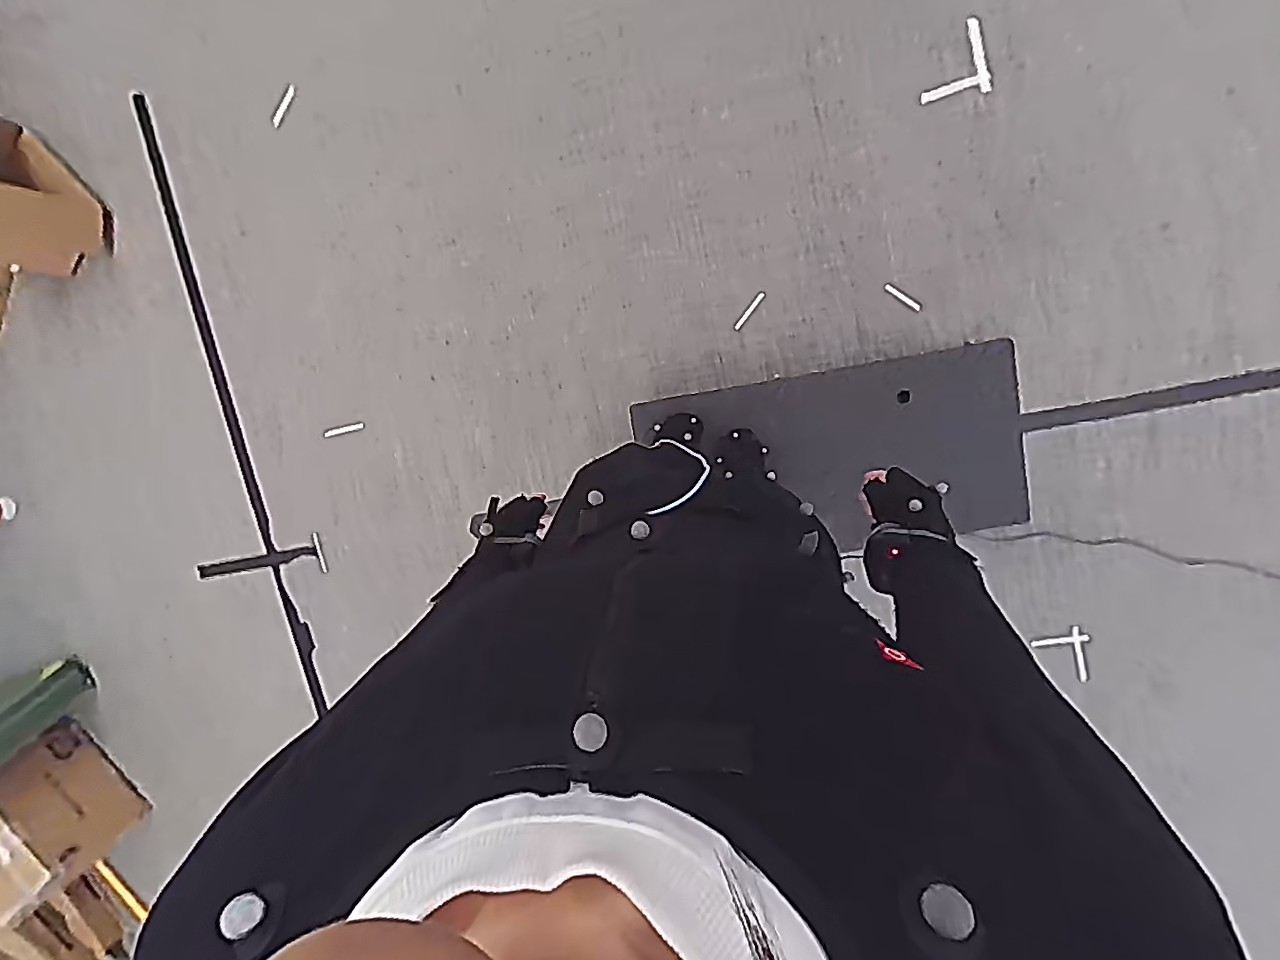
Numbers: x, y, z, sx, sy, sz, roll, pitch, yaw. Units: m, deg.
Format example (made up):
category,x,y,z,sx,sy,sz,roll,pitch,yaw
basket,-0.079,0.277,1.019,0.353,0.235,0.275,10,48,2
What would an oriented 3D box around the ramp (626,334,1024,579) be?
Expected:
category,x,y,z,sx,sy,sz,roll,pitch,yaw
ramp,0.492,-0.057,1.434,0.991,0.206,0.509,-11,95,12
